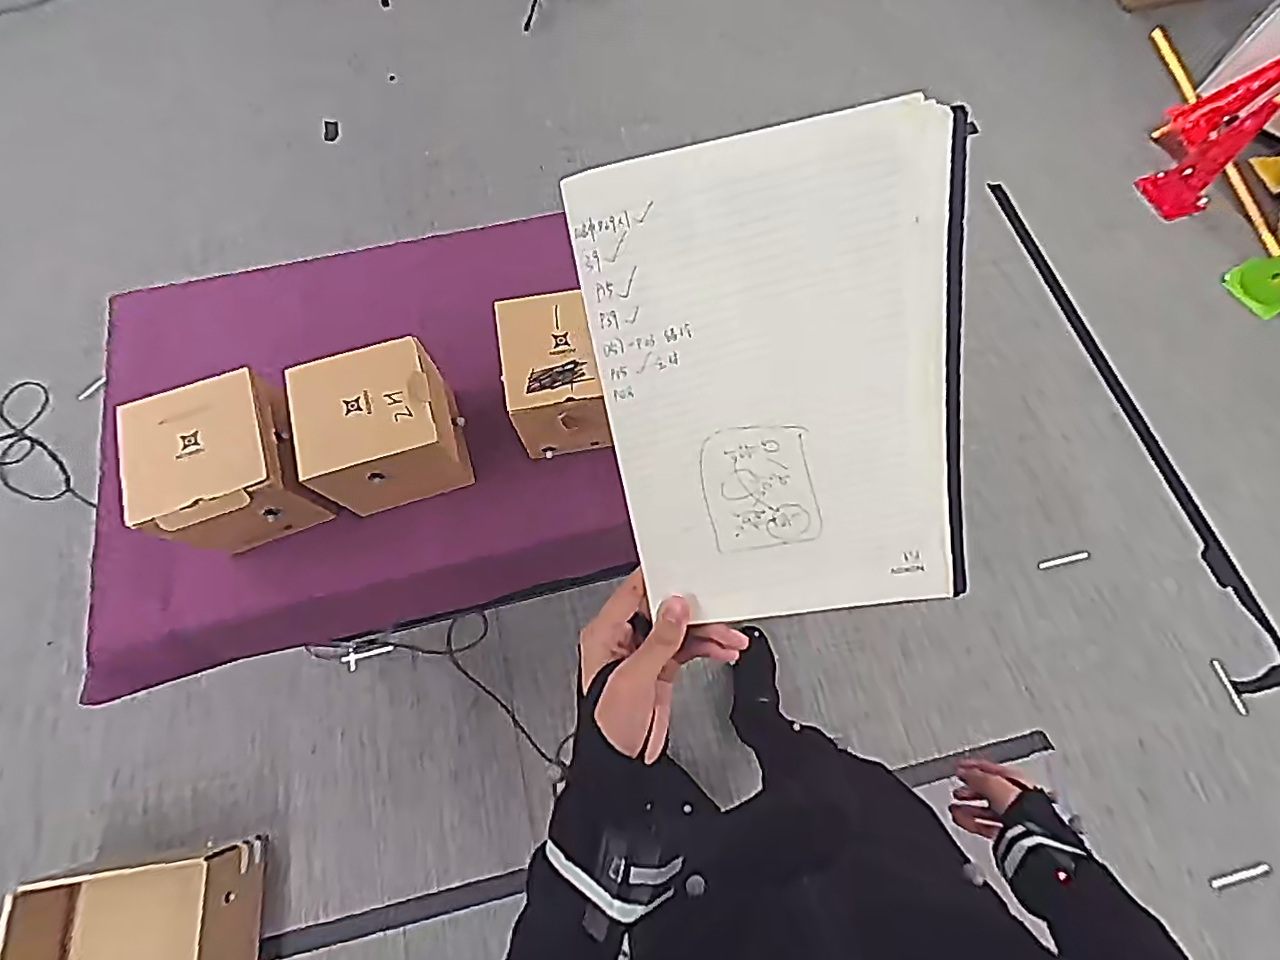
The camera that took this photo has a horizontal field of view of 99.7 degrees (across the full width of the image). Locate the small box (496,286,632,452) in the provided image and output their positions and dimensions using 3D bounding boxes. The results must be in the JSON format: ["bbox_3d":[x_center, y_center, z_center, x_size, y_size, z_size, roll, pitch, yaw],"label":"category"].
[{"bbox_3d":[-0.106,-0.153,0.802,0.168,0.176,0.179,-10,70,-4],"label":"small box"}]

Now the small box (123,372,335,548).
[{"bbox_3d":[-0.557,-0.015,0.754,0.168,0.176,0.179,-20,72,-8],"label":"small box"}]
